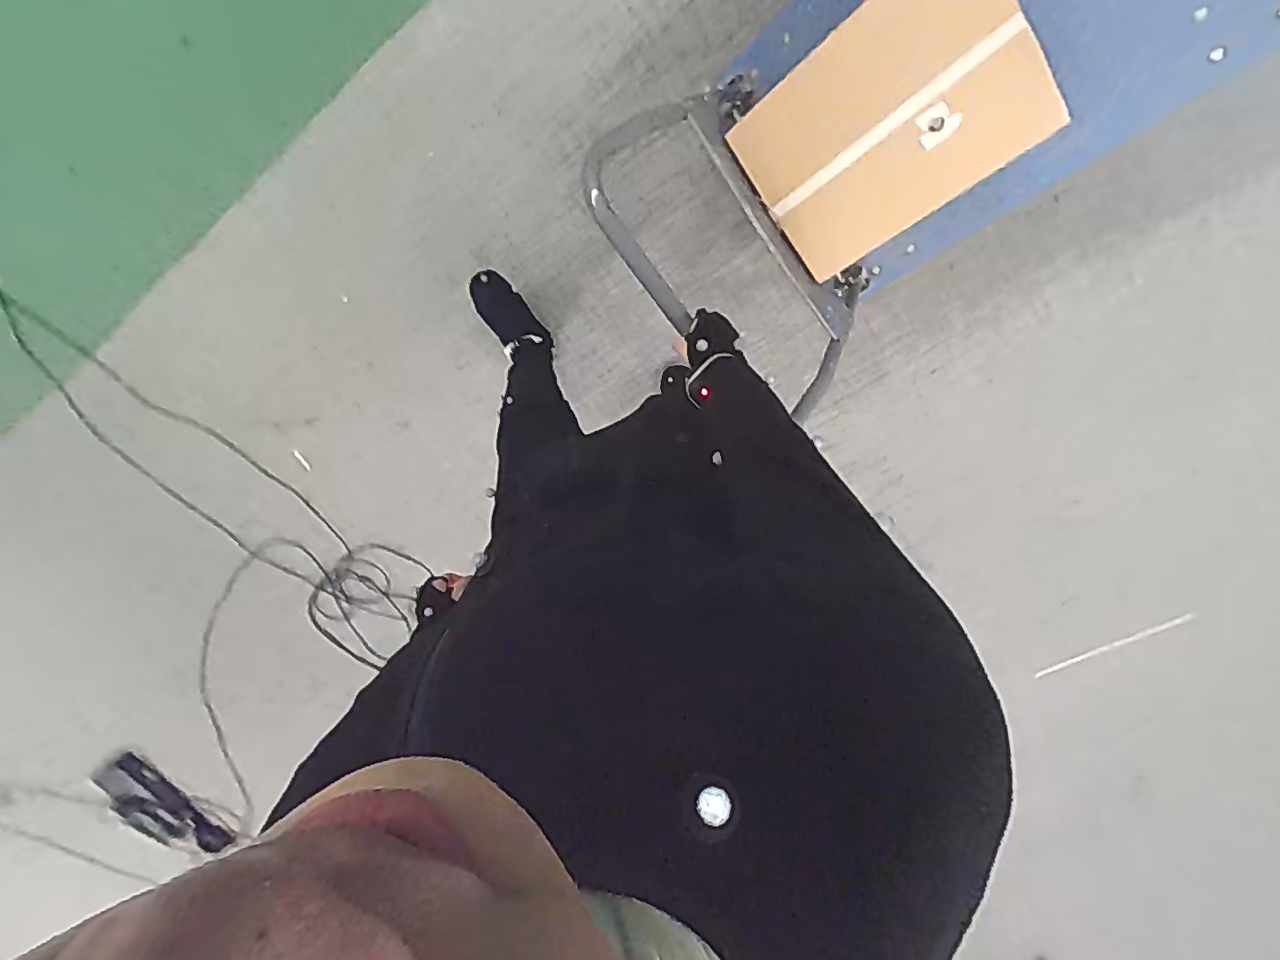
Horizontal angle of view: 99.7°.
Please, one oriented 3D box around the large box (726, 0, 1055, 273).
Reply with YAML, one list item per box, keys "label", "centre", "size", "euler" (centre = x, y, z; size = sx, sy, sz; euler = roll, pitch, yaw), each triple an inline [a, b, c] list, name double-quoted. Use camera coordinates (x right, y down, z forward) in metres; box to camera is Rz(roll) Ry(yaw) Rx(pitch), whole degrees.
- label: "large box"
  centre: [0.431, -0.658, 0.981]
  size: [0.408, 0.320, 0.320]
  euler: [-27, 110, 37]
